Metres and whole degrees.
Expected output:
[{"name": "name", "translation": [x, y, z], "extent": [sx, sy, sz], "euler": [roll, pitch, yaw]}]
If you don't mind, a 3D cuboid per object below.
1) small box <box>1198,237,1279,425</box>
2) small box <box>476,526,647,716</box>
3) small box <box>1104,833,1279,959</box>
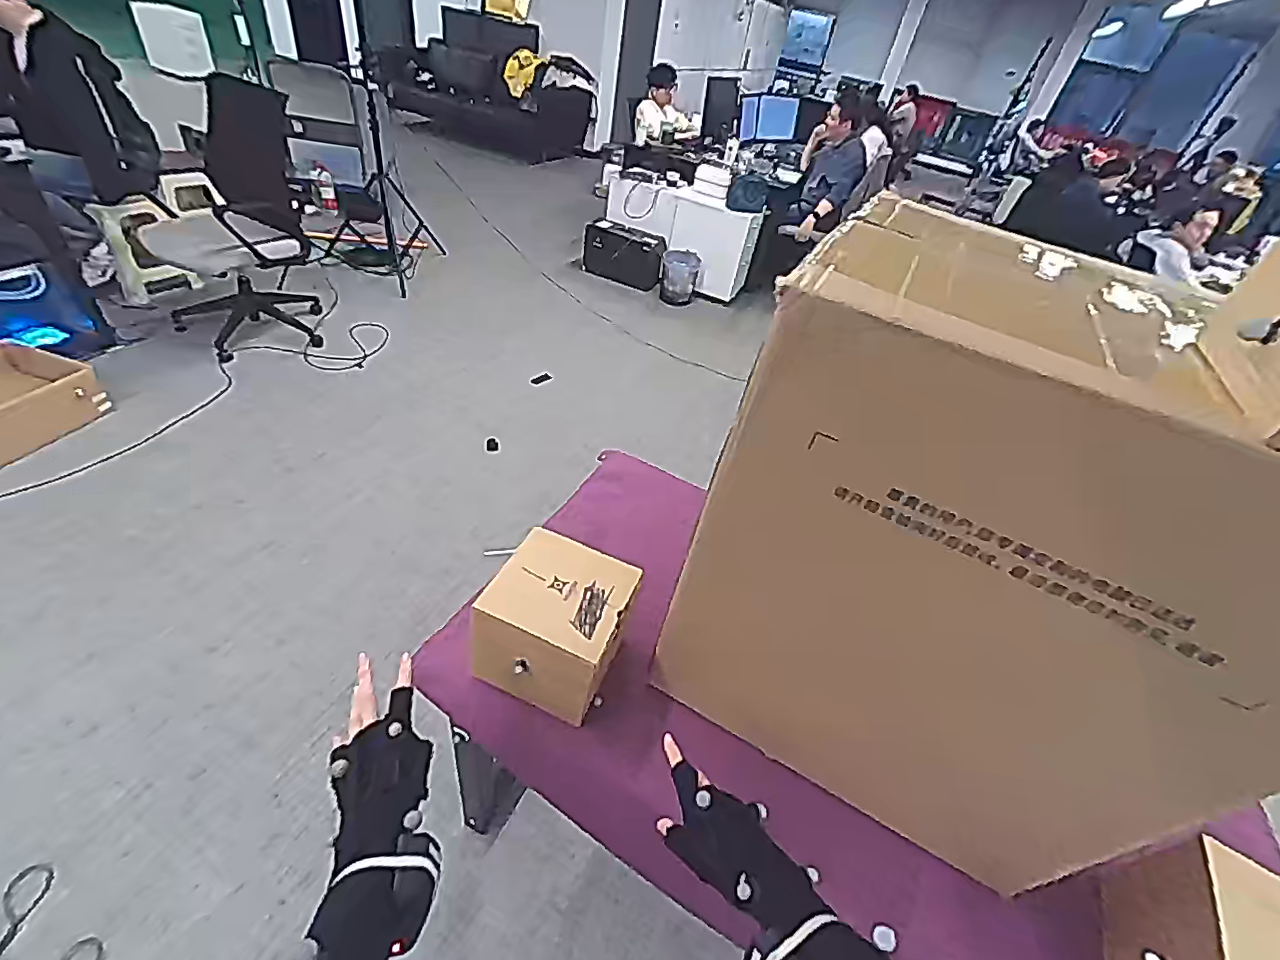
[{"name": "small box", "translation": [0.496, -0.099, 0.310], "extent": [0.168, 0.176, 0.179], "euler": [24, 44, 14]}, {"name": "small box", "translation": [-0.112, 0.203, 0.767], "extent": [0.179, 0.176, 0.168], "euler": [22, 40, 9]}, {"name": "small box", "translation": [0.647, 0.538, 0.579], "extent": [0.168, 0.176, 0.179], "euler": [30, 42, 19]}]
